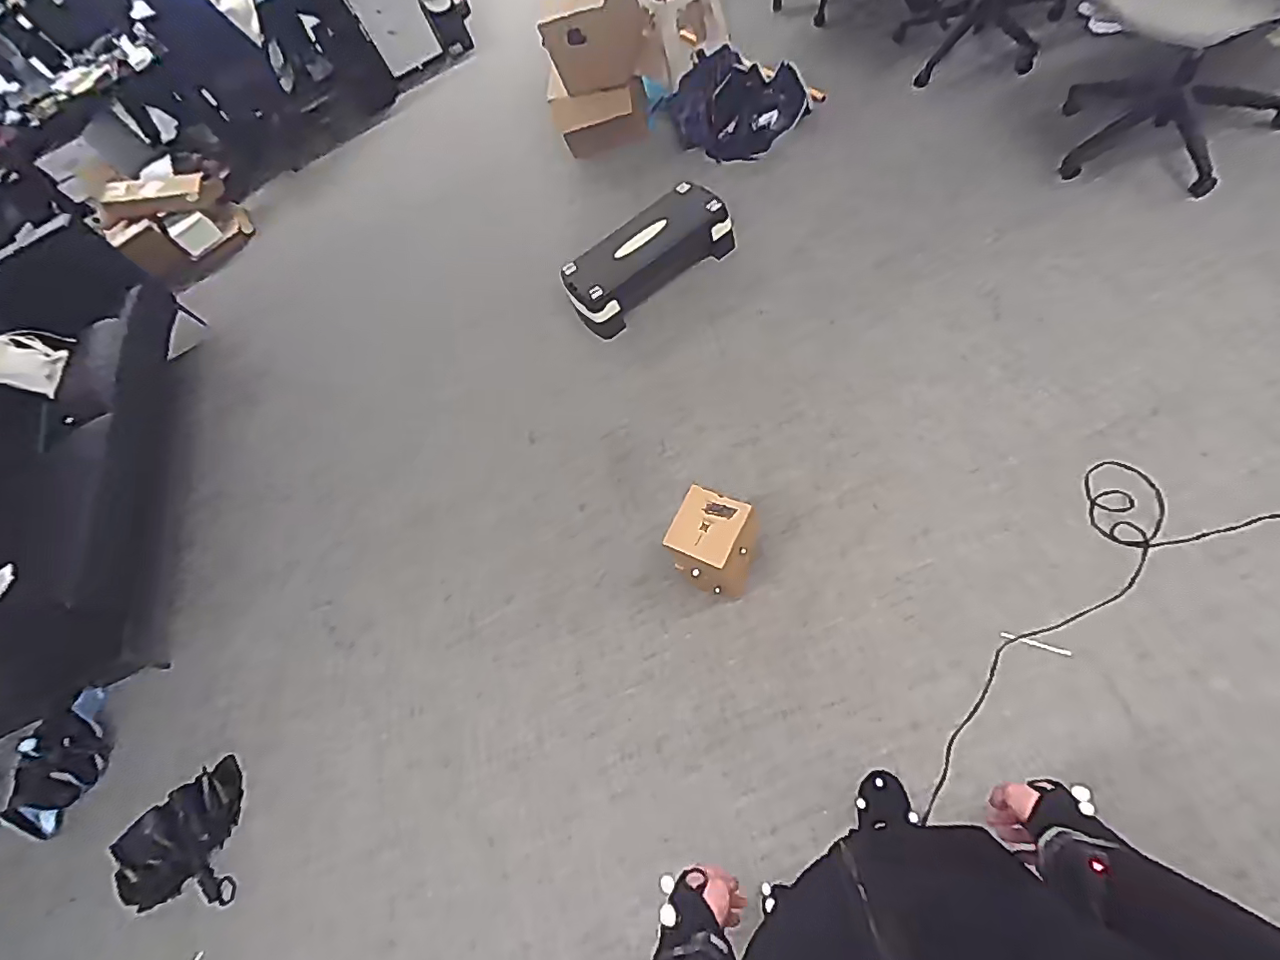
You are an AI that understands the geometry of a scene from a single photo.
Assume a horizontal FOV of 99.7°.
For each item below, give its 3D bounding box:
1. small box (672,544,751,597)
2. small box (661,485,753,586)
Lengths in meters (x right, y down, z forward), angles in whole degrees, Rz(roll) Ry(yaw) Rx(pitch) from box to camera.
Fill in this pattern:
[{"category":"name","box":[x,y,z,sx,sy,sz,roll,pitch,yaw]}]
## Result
[{"category":"small box","box":[0.210,0.214,1.534,0.168,0.176,0.179,13,67,24]},{"category":"small box","box":[0.180,0.146,1.387,0.168,0.176,0.179,21,72,26]}]
